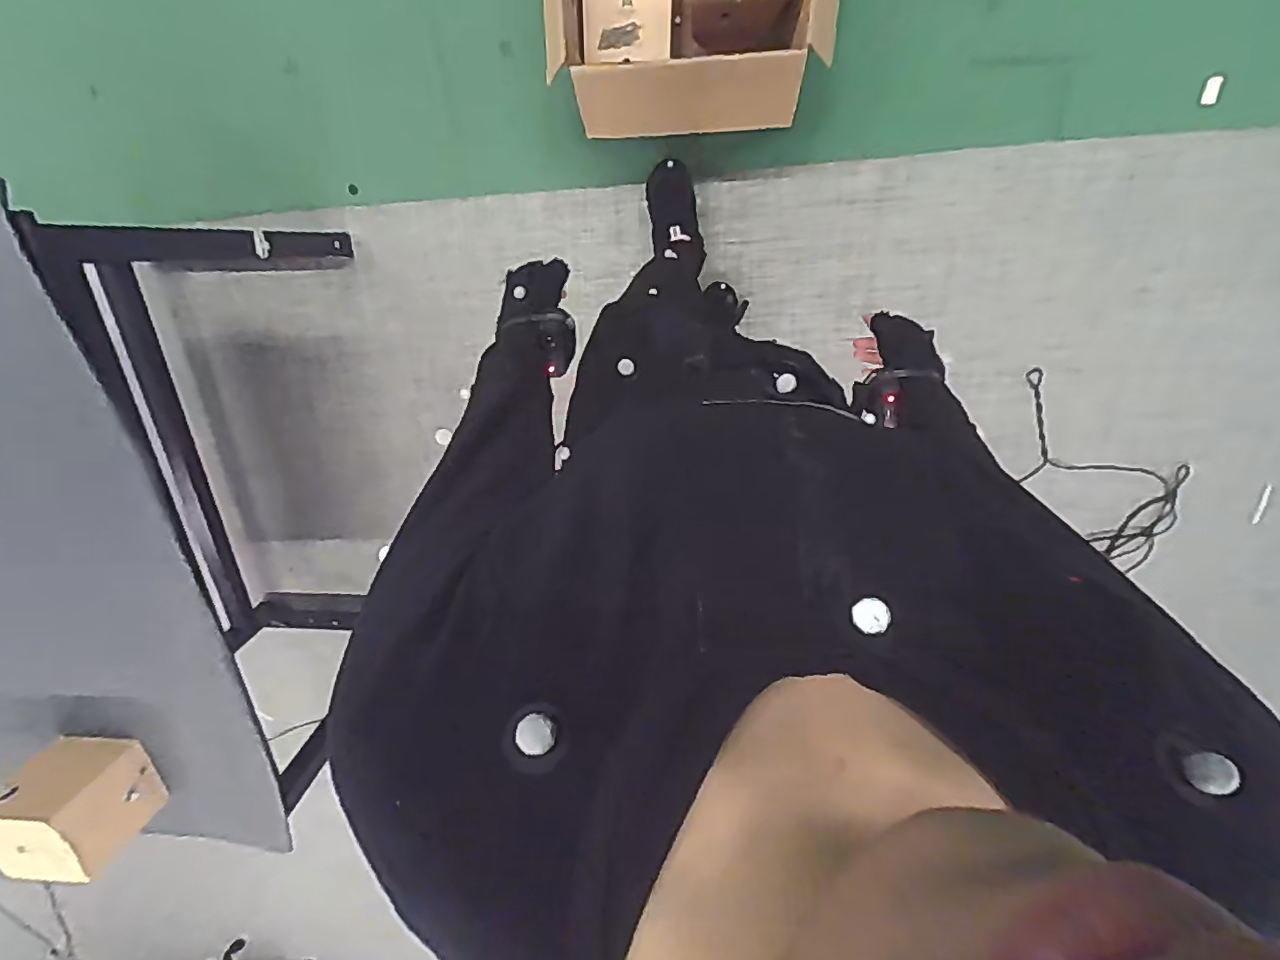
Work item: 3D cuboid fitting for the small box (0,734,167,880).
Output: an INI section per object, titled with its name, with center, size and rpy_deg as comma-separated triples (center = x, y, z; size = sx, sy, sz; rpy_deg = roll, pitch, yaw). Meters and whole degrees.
[small box]
center = -1.056, 0.600, 1.008
size = 0.179, 0.176, 0.168
rpy_deg = 0, 113, 5
